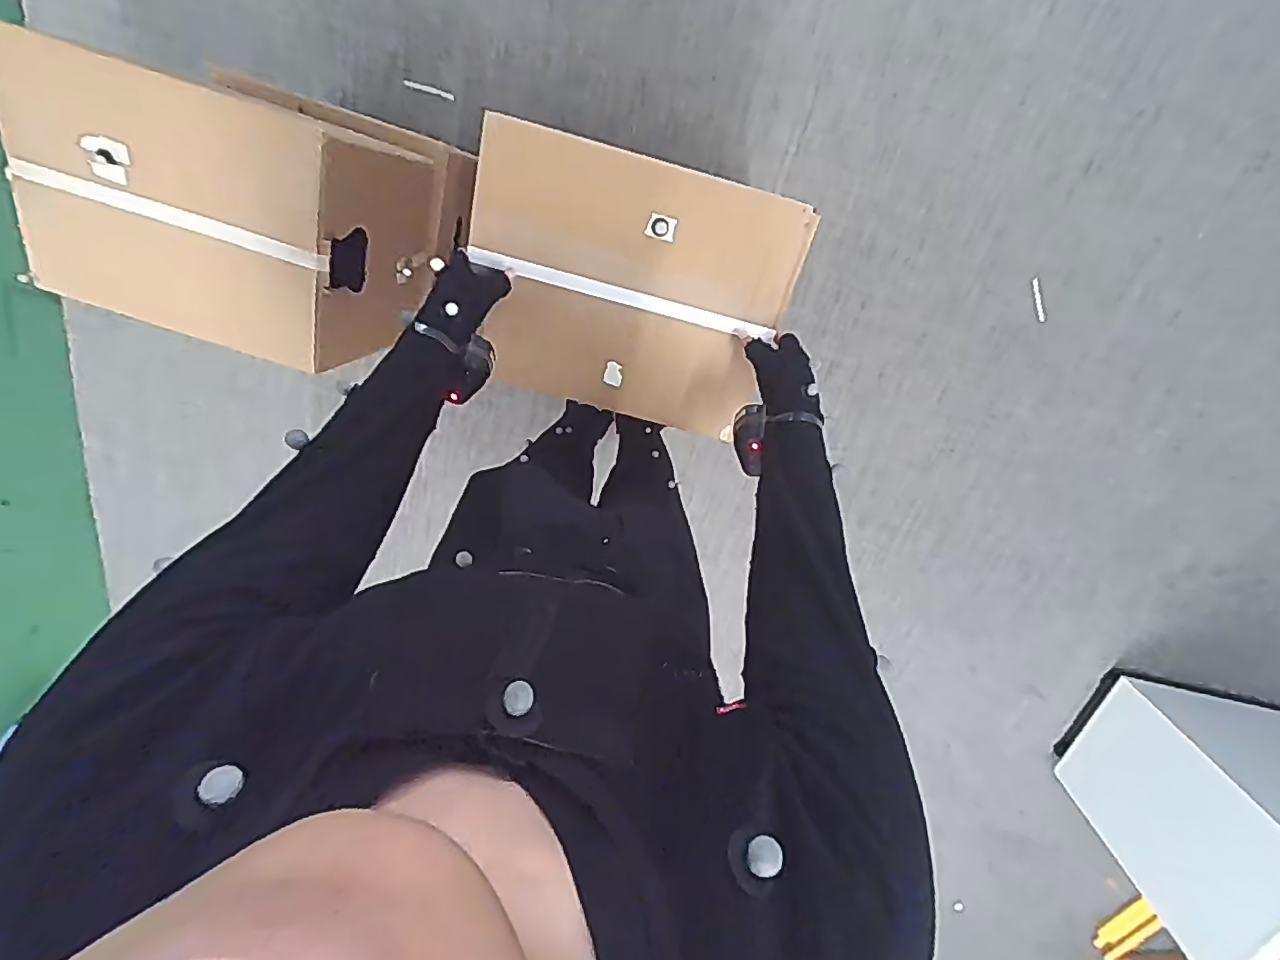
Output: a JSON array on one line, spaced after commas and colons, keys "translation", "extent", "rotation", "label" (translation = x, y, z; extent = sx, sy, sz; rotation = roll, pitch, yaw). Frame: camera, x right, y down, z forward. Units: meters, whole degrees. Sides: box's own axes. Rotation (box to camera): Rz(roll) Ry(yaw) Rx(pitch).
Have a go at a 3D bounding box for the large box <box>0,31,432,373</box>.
[{"translation": [-0.588, -0.400, 0.833], "extent": [0.408, 0.320, 0.320], "rotation": [18, 114, -2], "label": "large box"}]
